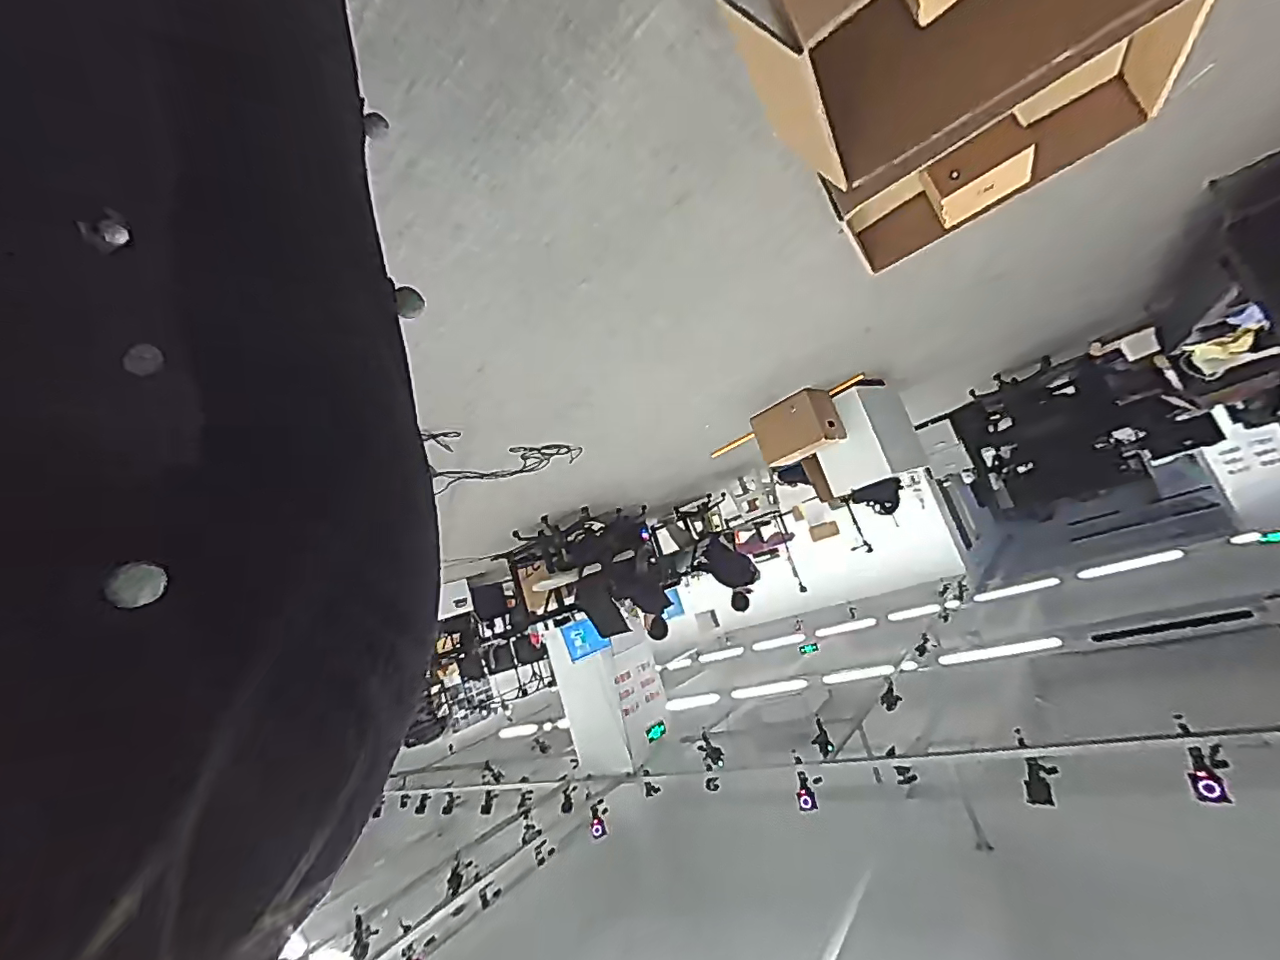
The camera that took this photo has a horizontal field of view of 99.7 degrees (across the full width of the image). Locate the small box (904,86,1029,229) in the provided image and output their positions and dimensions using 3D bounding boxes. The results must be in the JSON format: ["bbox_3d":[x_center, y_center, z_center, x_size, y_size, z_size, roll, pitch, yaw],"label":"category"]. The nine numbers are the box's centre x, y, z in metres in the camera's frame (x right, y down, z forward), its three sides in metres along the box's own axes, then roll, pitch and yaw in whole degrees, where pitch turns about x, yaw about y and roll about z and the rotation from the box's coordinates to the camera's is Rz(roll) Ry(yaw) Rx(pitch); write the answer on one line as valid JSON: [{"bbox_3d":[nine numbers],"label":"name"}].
[{"bbox_3d":[0.705,-0.695,1.175,0.179,0.176,0.168,-26,167,30],"label":"small box"}]
